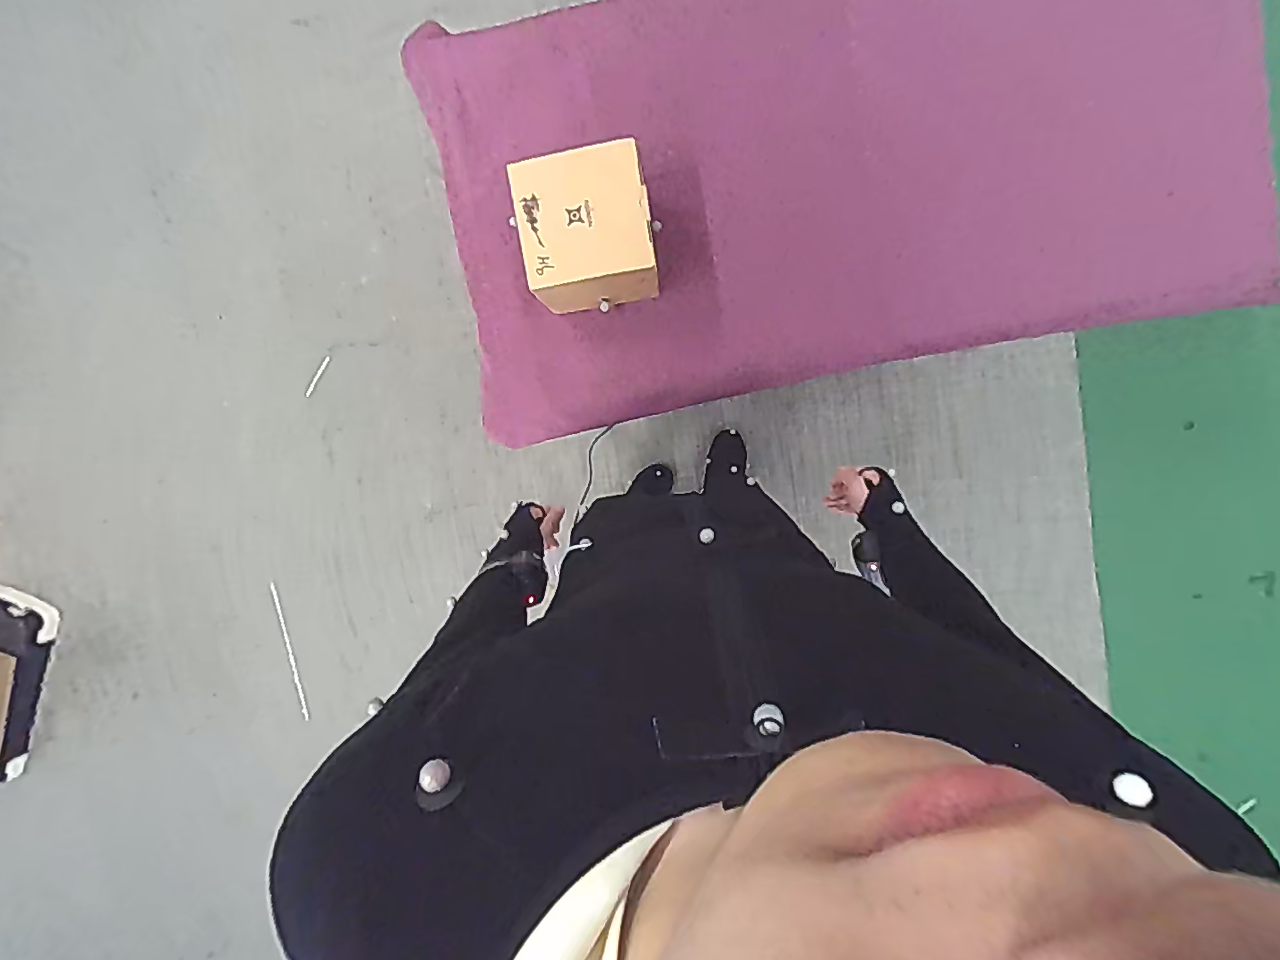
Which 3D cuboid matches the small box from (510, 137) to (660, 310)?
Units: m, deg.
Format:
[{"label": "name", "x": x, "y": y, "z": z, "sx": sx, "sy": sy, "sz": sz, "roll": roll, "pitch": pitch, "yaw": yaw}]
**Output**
[{"label": "small box", "x": -0.069, "y": -0.357, "z": 0.782, "sx": 0.179, "sy": 0.176, "sz": 0.168, "roll": -9, "pitch": 95, "yaw": 4}]
